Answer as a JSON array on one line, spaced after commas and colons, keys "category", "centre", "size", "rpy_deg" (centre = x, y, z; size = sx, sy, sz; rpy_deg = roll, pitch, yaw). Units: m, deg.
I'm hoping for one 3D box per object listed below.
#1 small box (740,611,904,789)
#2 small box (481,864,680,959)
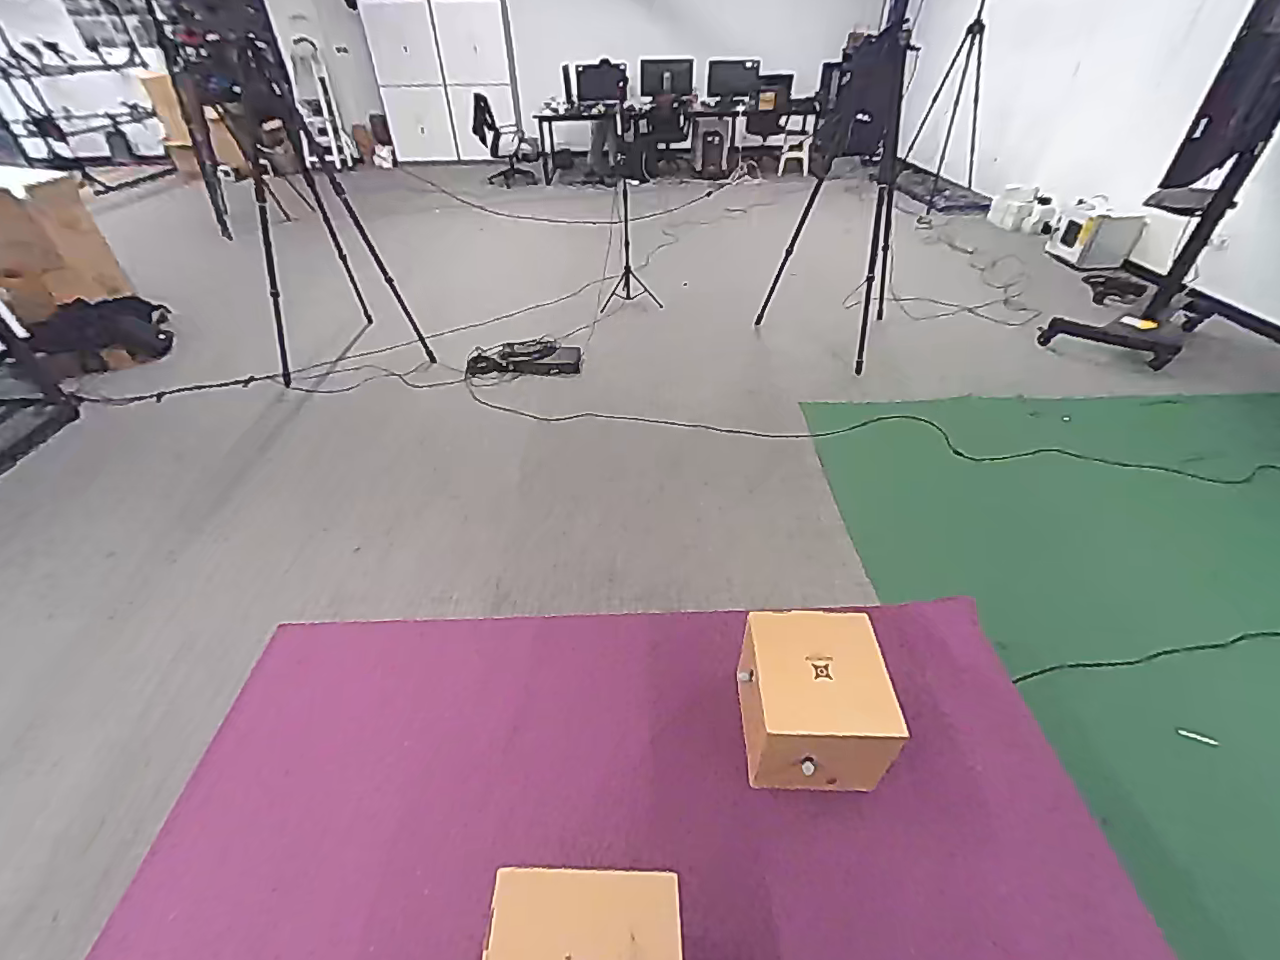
[{"category": "small box", "centre": [0.232, 0.301, 0.740], "size": [0.168, 0.176, 0.179], "rpy_deg": [0, 39, 3]}, {"category": "small box", "centre": [-0.060, 0.487, 0.507], "size": [0.179, 0.176, 0.168], "rpy_deg": [6, 38, -5]}]
